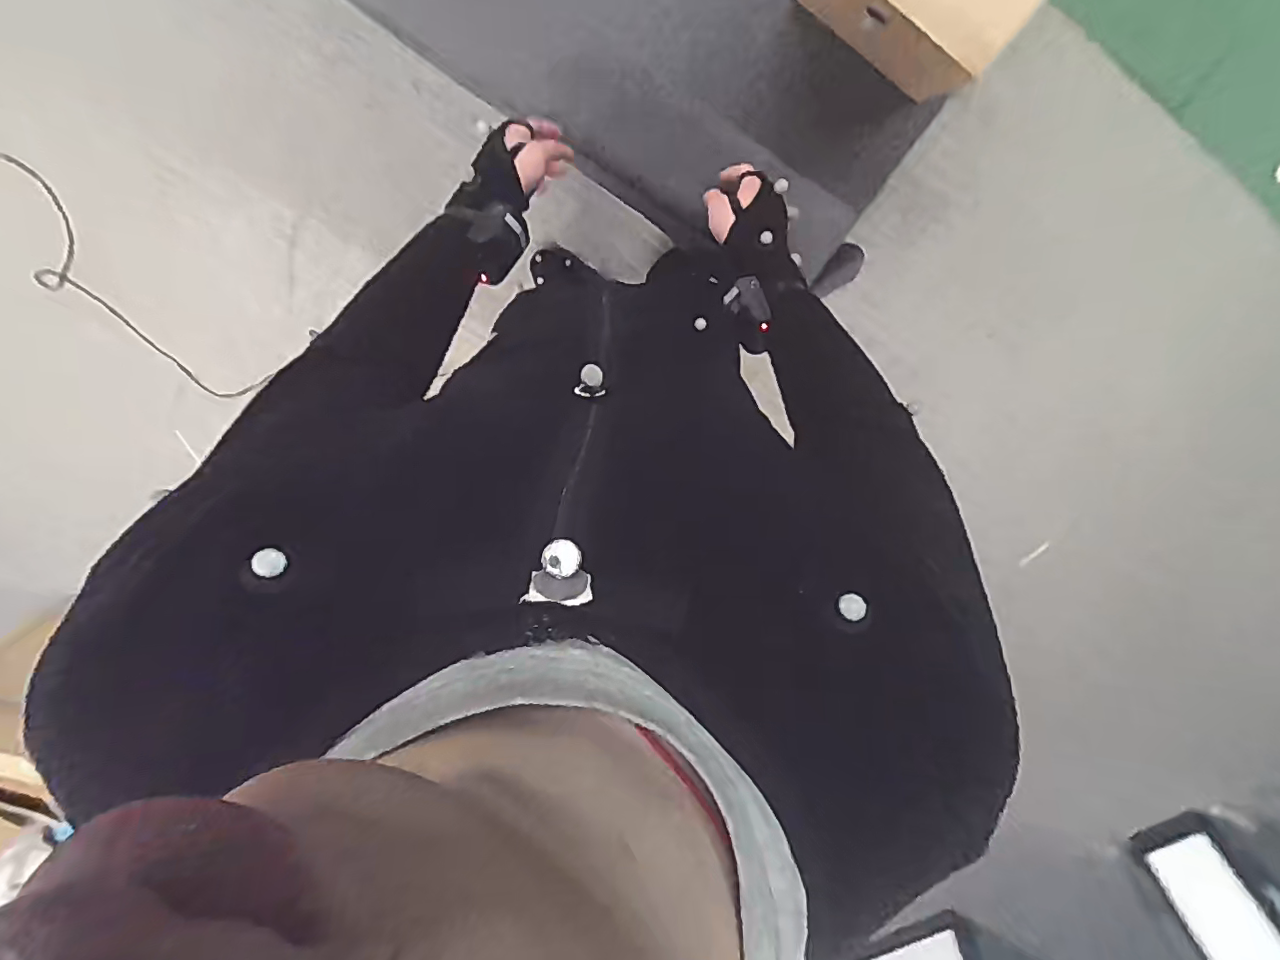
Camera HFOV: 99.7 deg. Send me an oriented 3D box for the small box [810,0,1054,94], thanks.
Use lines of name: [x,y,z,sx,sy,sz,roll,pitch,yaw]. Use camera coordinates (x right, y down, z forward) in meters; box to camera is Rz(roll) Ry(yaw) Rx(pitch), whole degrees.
small box: [0.267,-0.467,0.460,0.179,0.176,0.168,32,118,-12]
